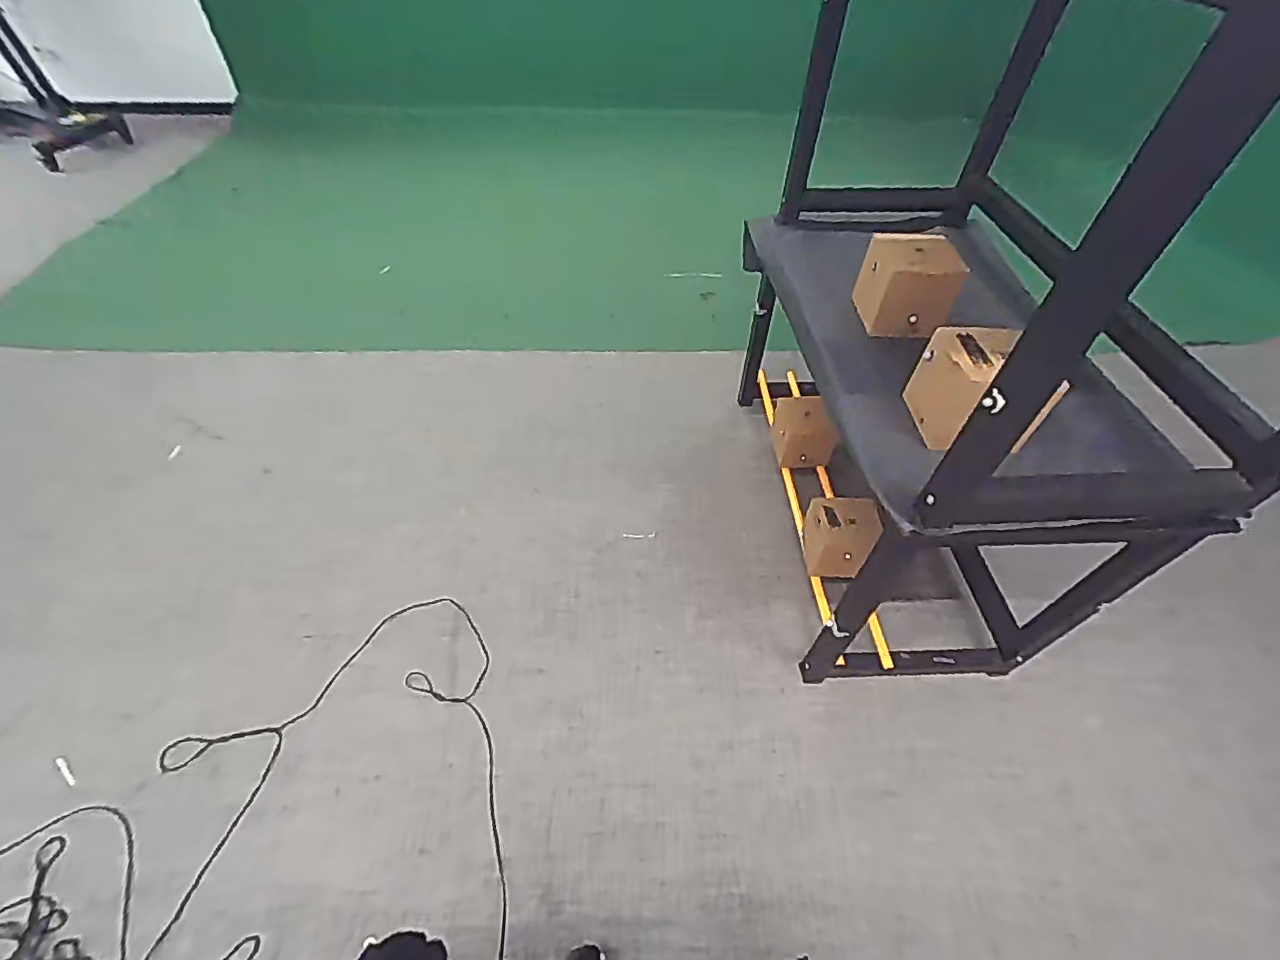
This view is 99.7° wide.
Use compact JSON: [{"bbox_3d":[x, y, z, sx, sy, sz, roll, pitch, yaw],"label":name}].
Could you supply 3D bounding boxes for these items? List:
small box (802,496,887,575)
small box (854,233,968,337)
[{"bbox_3d":[0.578,0.163,1.561,0.179,0.176,0.168,1,50,0],"label":"small box"},{"bbox_3d":[0.624,-0.459,1.274,0.168,0.176,0.179,1,50,0],"label":"small box"}]
